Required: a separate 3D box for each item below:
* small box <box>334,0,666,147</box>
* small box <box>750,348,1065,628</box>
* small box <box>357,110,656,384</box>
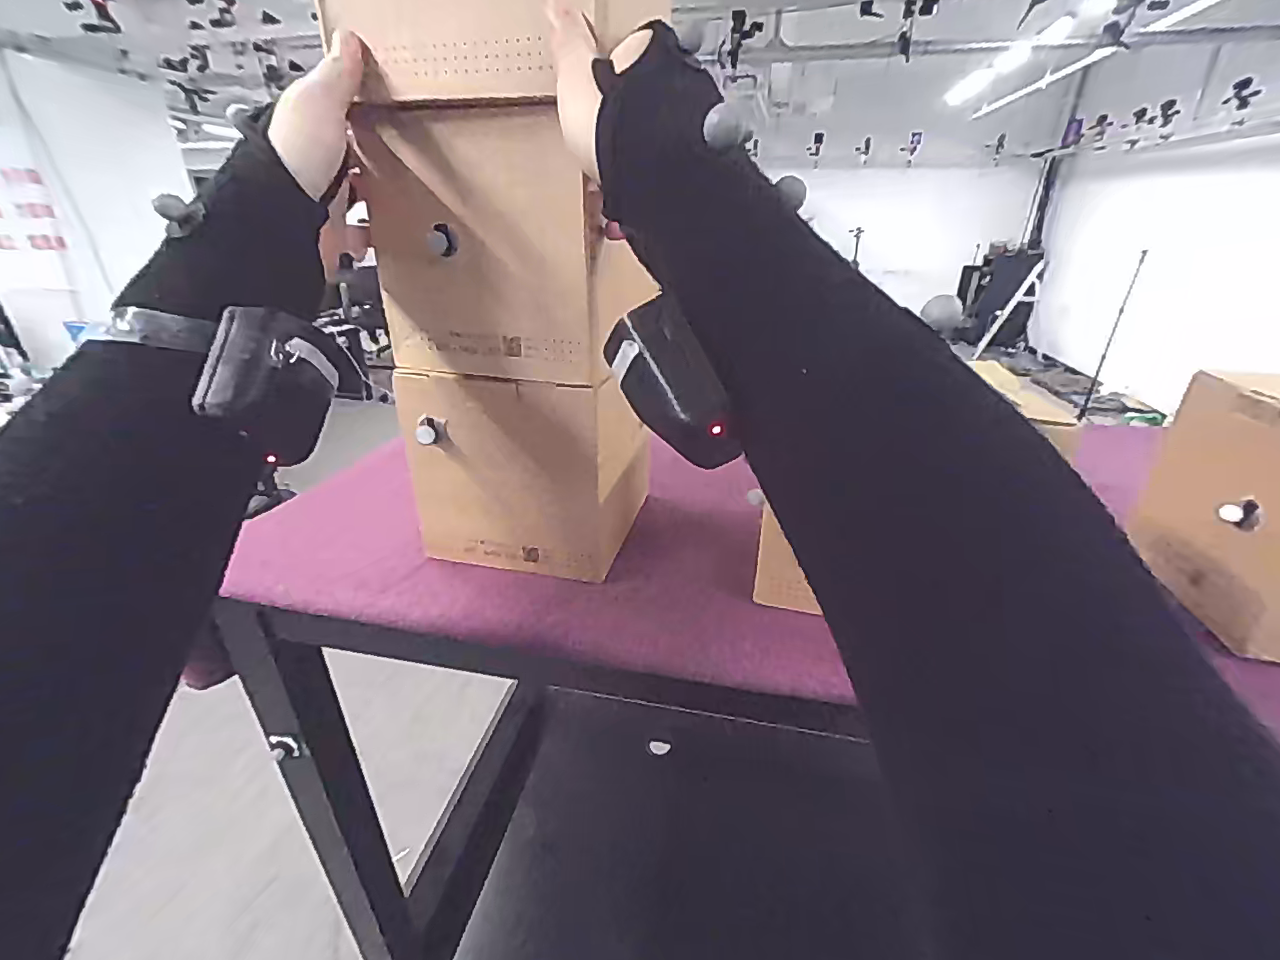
[{"bbox_3d":[-0.083,-0.323,0.355,0.179,0.176,0.168,5,26,12],"label":"small box"},{"bbox_3d":[0.192,-0.003,0.441,0.179,0.176,0.168,6,25,15],"label":"small box"},{"bbox_3d":[-0.086,-0.182,0.443,0.168,0.176,0.179,8,26,16],"label":"small box"}]
